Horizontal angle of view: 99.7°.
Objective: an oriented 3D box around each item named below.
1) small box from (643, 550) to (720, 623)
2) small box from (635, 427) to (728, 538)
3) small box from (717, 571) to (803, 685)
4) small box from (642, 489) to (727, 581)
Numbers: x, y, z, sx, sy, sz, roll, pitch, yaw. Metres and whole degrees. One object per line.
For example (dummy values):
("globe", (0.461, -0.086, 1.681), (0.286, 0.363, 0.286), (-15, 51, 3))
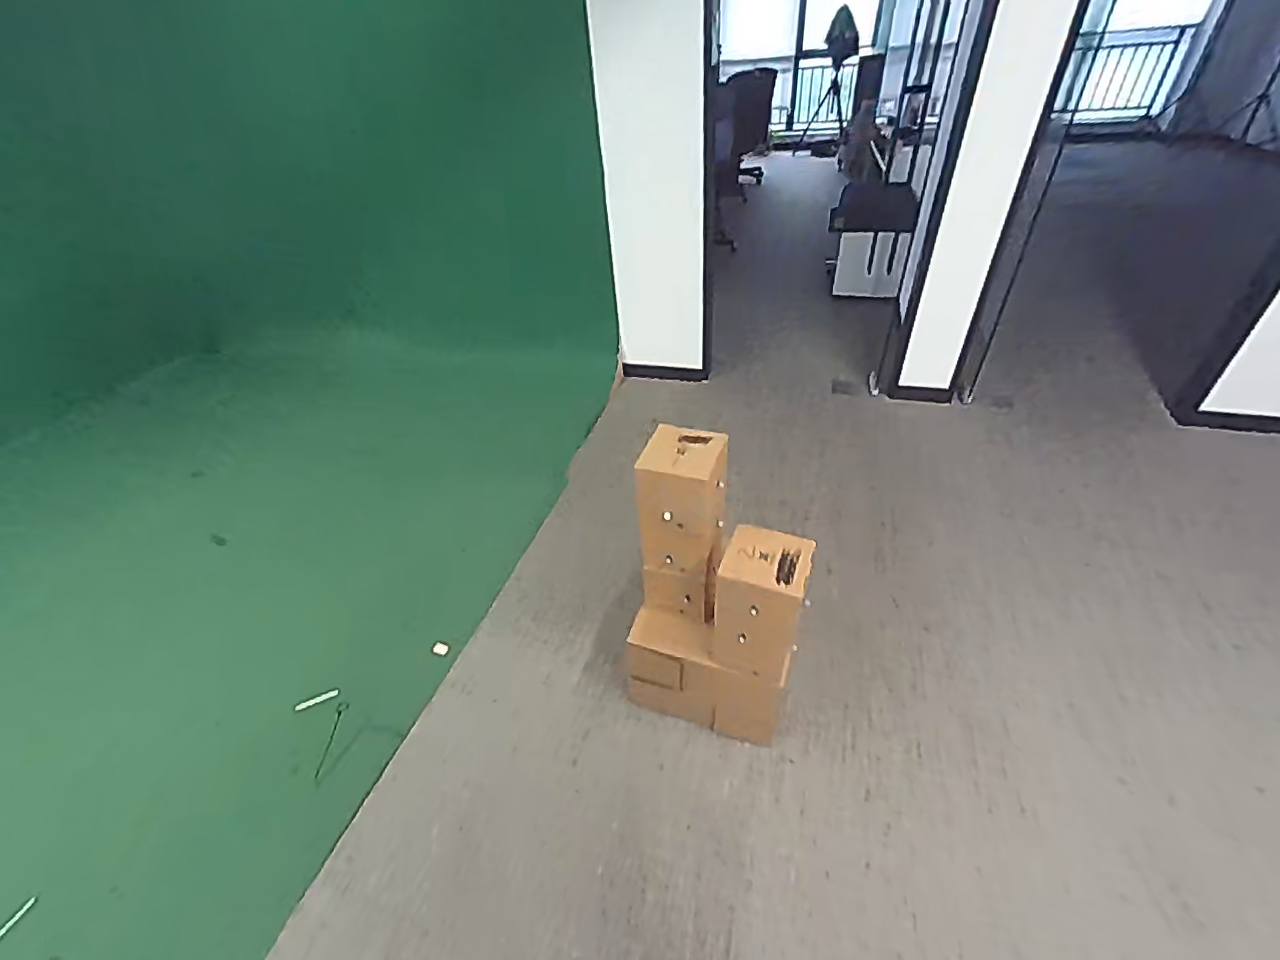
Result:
("small box", (0.119, 0.253, 1.447), (0.168, 0.176, 0.179), (10, 40, 19))
("small box", (0.098, 0.003, 1.237), (0.168, 0.176, 0.179), (10, 41, 19))
("small box", (0.284, 0.353, 1.297), (0.168, 0.176, 0.179), (12, 40, 20))
("small box", (0.113, 0.123, 1.348), (0.168, 0.176, 0.179), (11, 42, 18))
